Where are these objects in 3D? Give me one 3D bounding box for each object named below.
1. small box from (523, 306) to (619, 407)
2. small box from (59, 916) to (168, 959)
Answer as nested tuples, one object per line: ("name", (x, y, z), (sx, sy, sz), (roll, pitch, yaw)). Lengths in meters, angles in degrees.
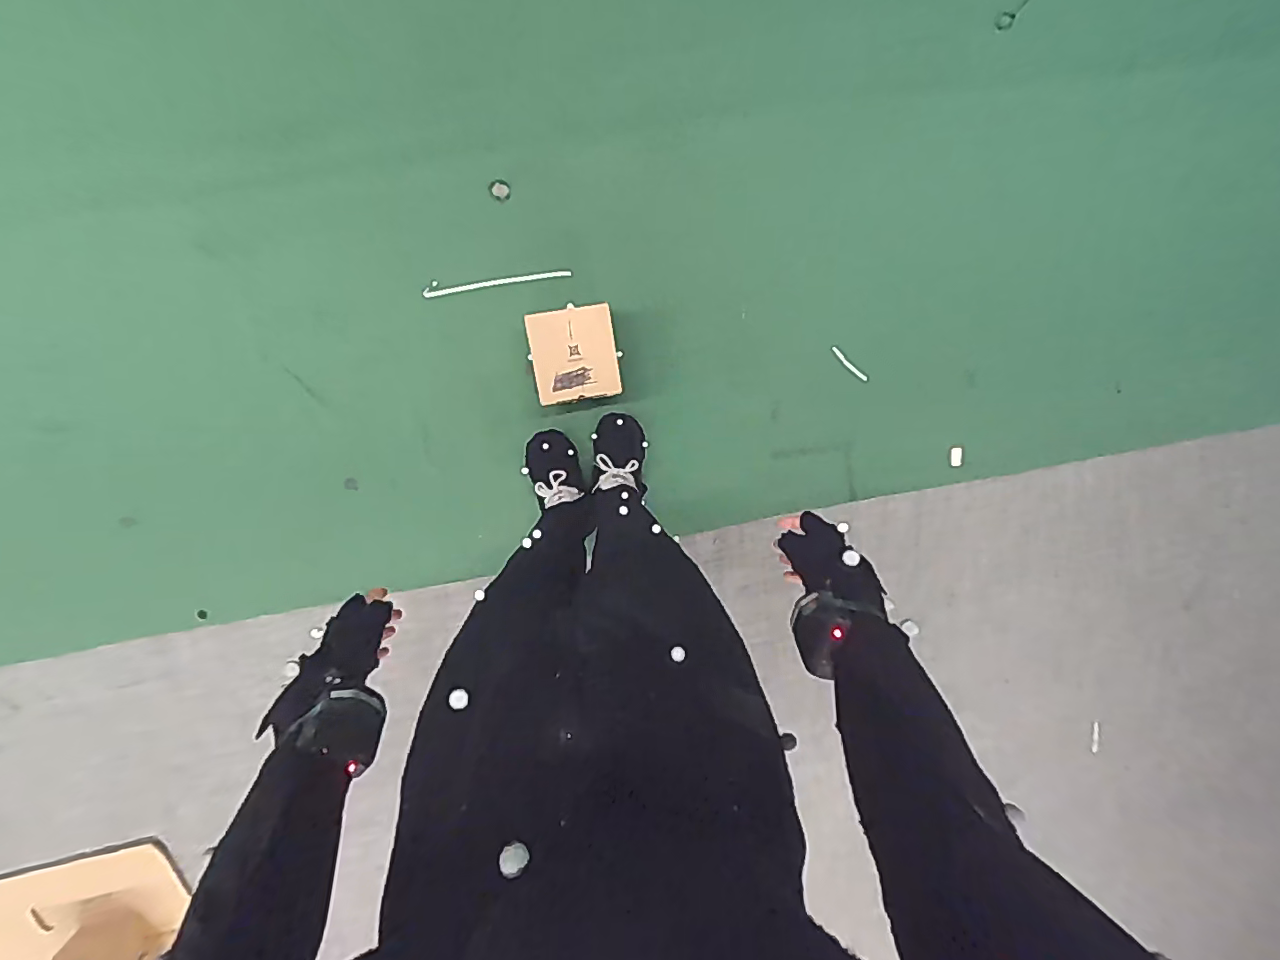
("small box", (-0.139, -0.259, 1.131), (0.168, 0.176, 0.179), (-10, 104, -3))
("small box", (-1.387, 1.281, 1.388), (0.179, 0.176, 0.168), (-15, 104, -3))
